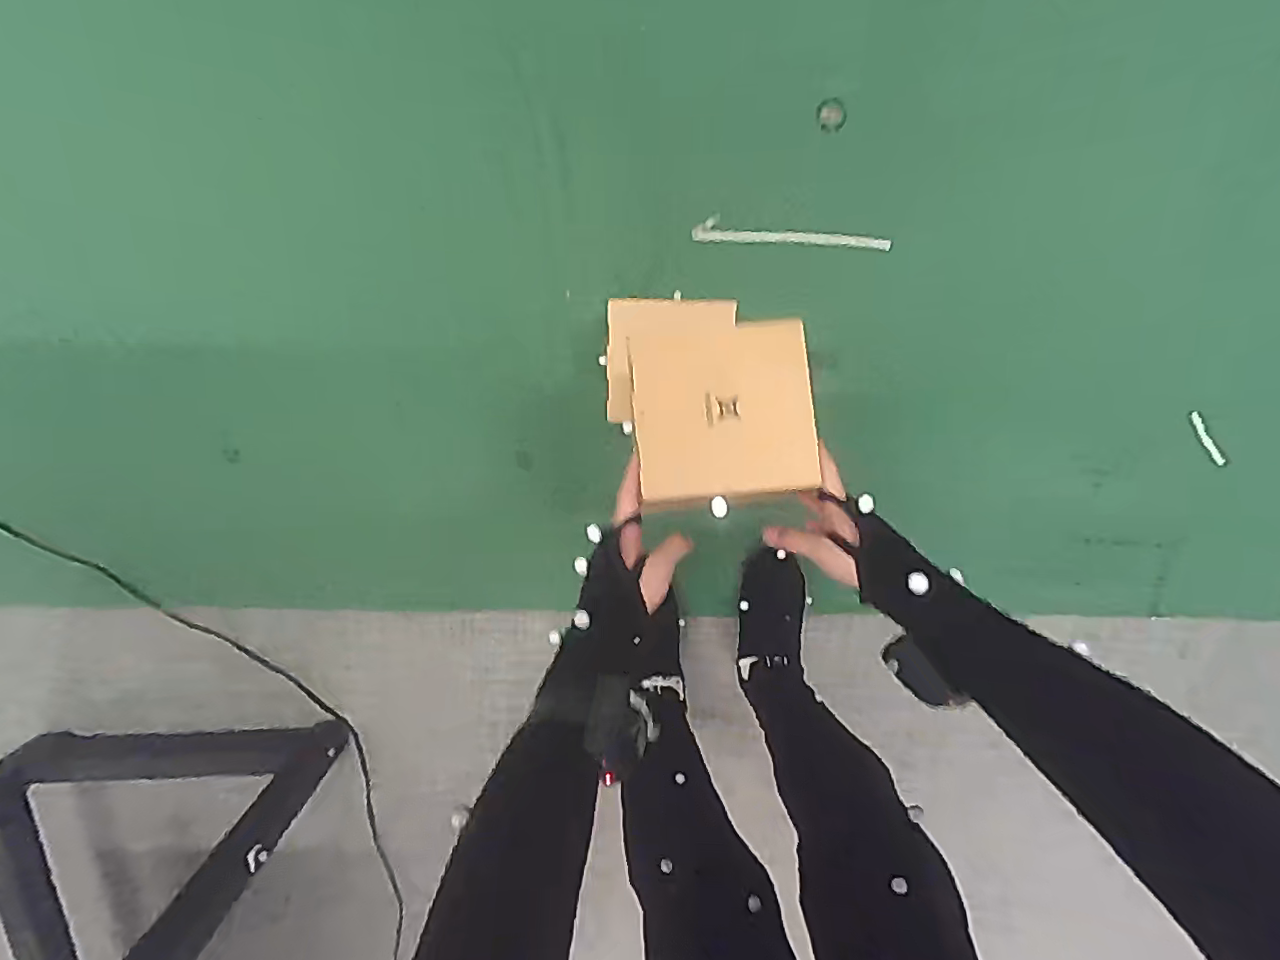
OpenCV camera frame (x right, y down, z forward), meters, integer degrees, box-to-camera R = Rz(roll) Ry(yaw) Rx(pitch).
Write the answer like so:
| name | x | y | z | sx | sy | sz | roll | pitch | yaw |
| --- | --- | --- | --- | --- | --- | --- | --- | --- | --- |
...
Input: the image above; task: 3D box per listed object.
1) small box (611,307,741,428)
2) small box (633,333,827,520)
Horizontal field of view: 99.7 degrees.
| name | x | y | z | sx | sy | sz | roll | pitch | yaw |
| --- | --- | --- | --- | --- | --- | --- | --- | --- | --- |
| small box | 0.046 | -0.168 | 0.823 | 0.179 | 0.176 | 0.168 | 1 | 102 | -1 |
| small box | 0.085 | -0.047 | 0.598 | 0.179 | 0.176 | 0.168 | -5 | 82 | 1 |
